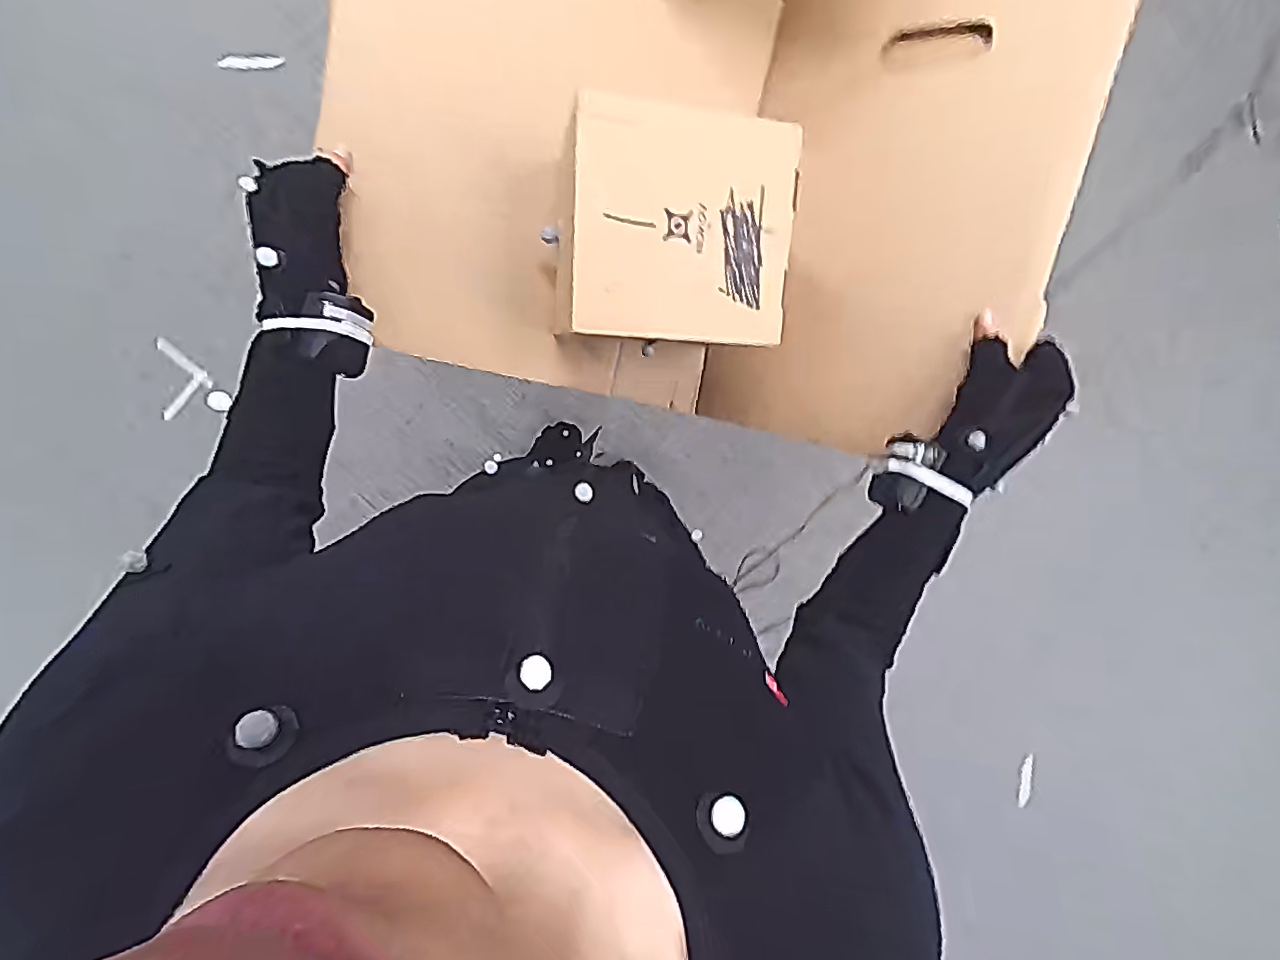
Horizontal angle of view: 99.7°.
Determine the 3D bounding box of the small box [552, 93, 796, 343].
[{"bbox_3d":[0.016,-0.216,0.497,0.179,0.176,0.168,0,103,-13],"label":"small box"}]
